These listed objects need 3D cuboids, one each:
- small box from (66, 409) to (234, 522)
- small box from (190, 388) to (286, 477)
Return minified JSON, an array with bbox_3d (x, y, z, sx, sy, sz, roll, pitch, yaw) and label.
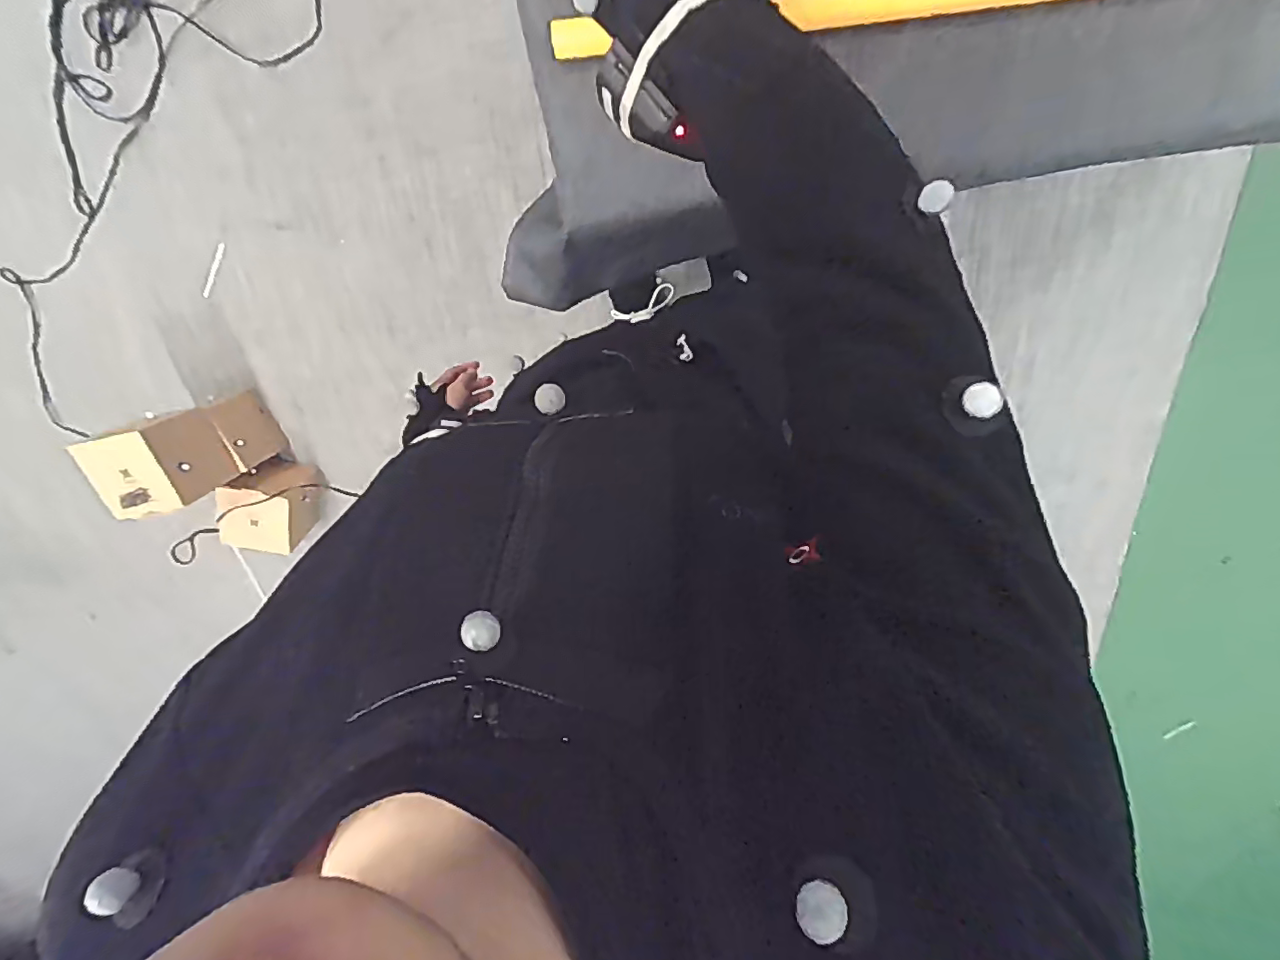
[{"bbox_3d":[-1.041,-0.035,1.170,0.168,0.176,0.179,-10,114,6],"label":"small box"},{"bbox_3d":[-1.026,-0.104,1.325,0.179,0.176,0.168,-17,119,11],"label":"small box"}]
